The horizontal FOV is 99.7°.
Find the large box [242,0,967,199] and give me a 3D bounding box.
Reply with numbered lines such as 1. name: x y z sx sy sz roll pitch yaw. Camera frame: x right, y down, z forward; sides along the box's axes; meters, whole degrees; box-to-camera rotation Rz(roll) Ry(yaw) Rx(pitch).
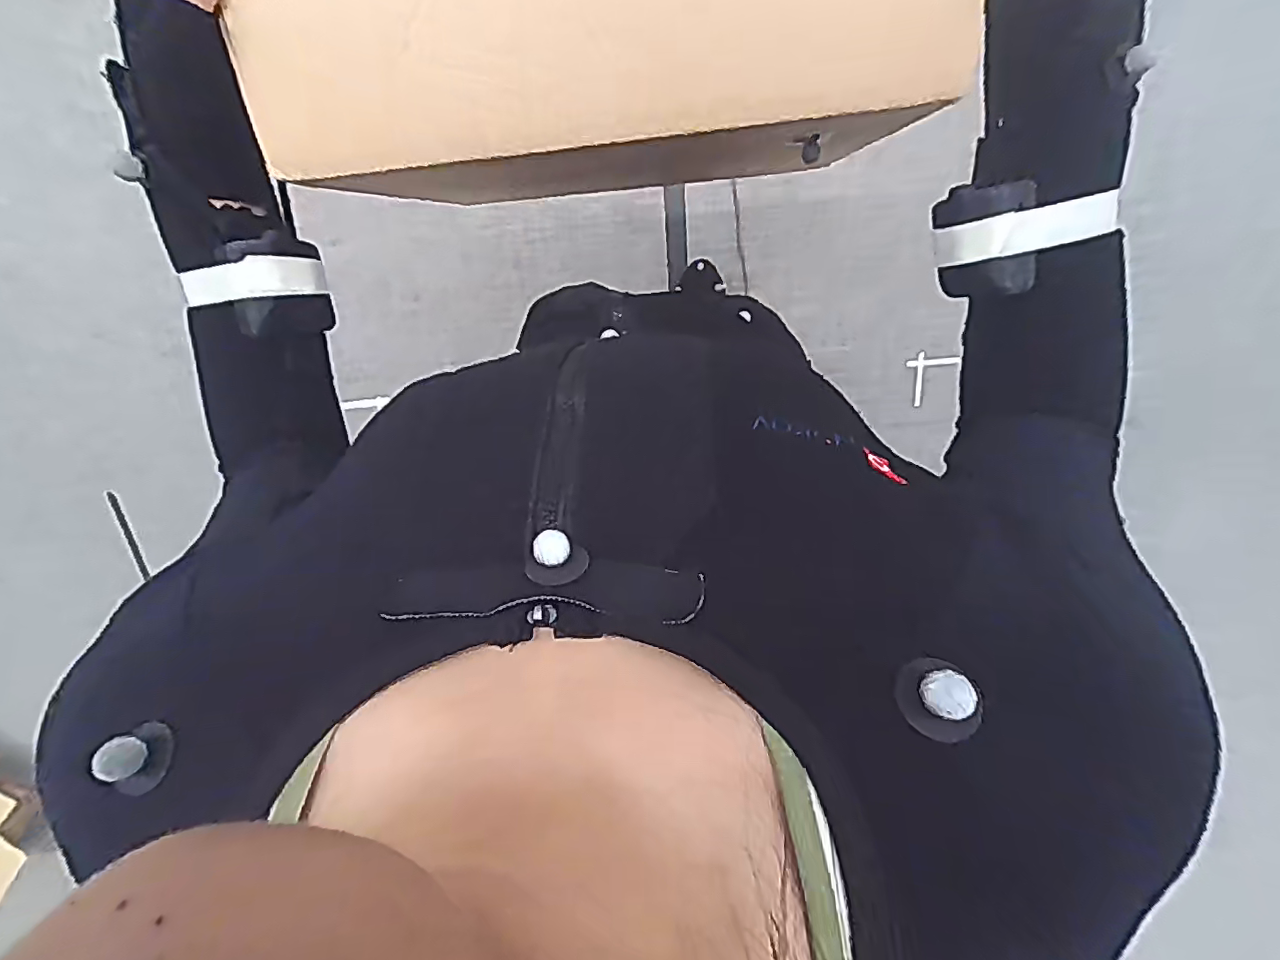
1. large box: -0.023 -0.404 0.395 0.408 0.320 0.320 -3 113 6

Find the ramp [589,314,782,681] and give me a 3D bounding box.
1. ramp: 0.130 0.078 1.474 0.509 0.206 0.991 -3 109 9
